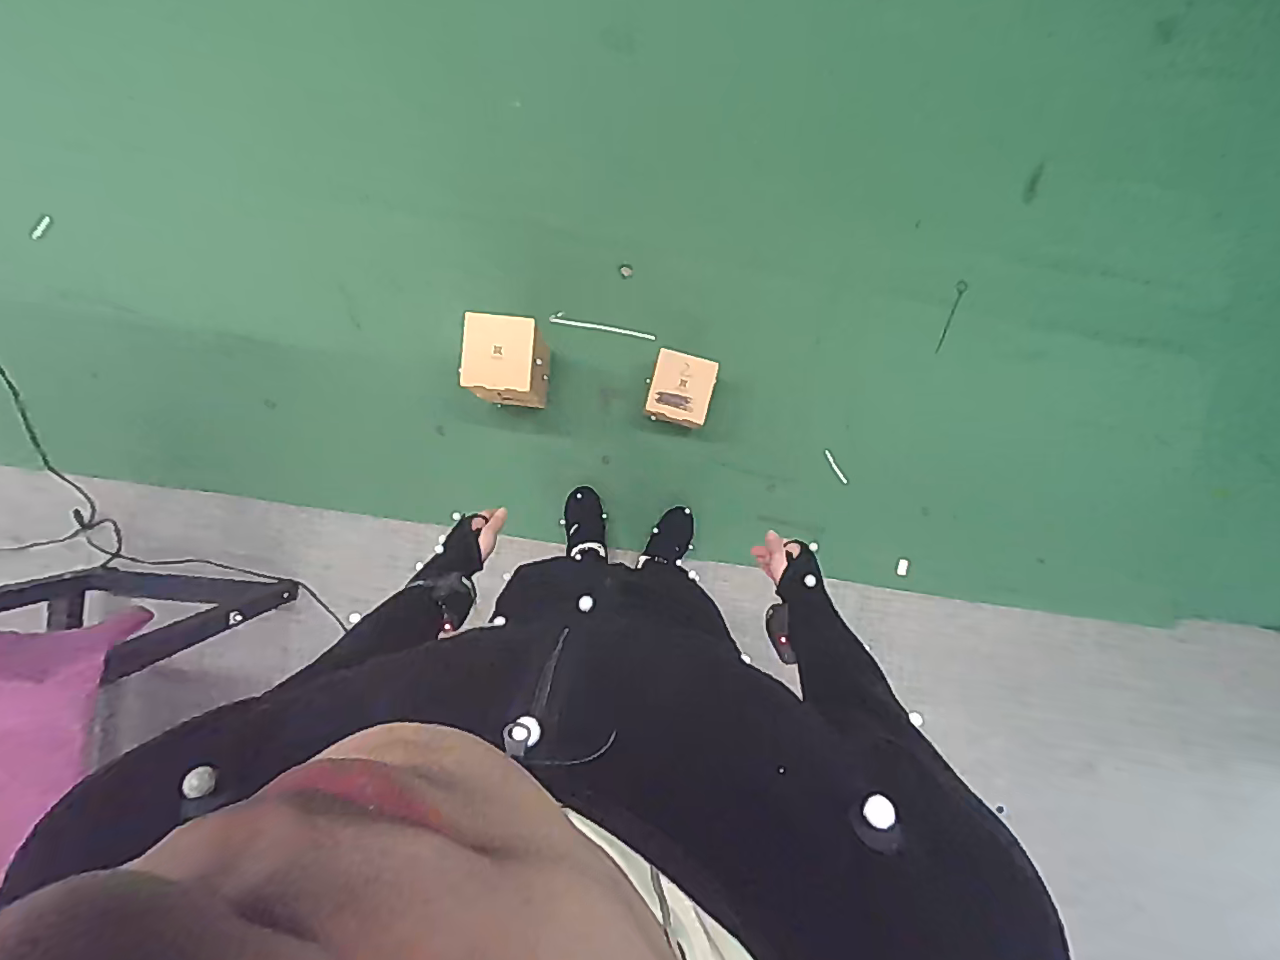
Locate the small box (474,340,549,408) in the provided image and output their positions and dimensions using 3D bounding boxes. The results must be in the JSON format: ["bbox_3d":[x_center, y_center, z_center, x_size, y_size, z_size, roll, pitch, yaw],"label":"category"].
[{"bbox_3d":[-0.354,-0.300,1.515,0.168,0.176,0.179,6,91,-3],"label":"small box"}]

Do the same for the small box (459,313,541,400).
[{"bbox_3d":[-0.343,-0.302,1.353,0.168,0.176,0.179,5,92,-3],"label":"small box"}]
